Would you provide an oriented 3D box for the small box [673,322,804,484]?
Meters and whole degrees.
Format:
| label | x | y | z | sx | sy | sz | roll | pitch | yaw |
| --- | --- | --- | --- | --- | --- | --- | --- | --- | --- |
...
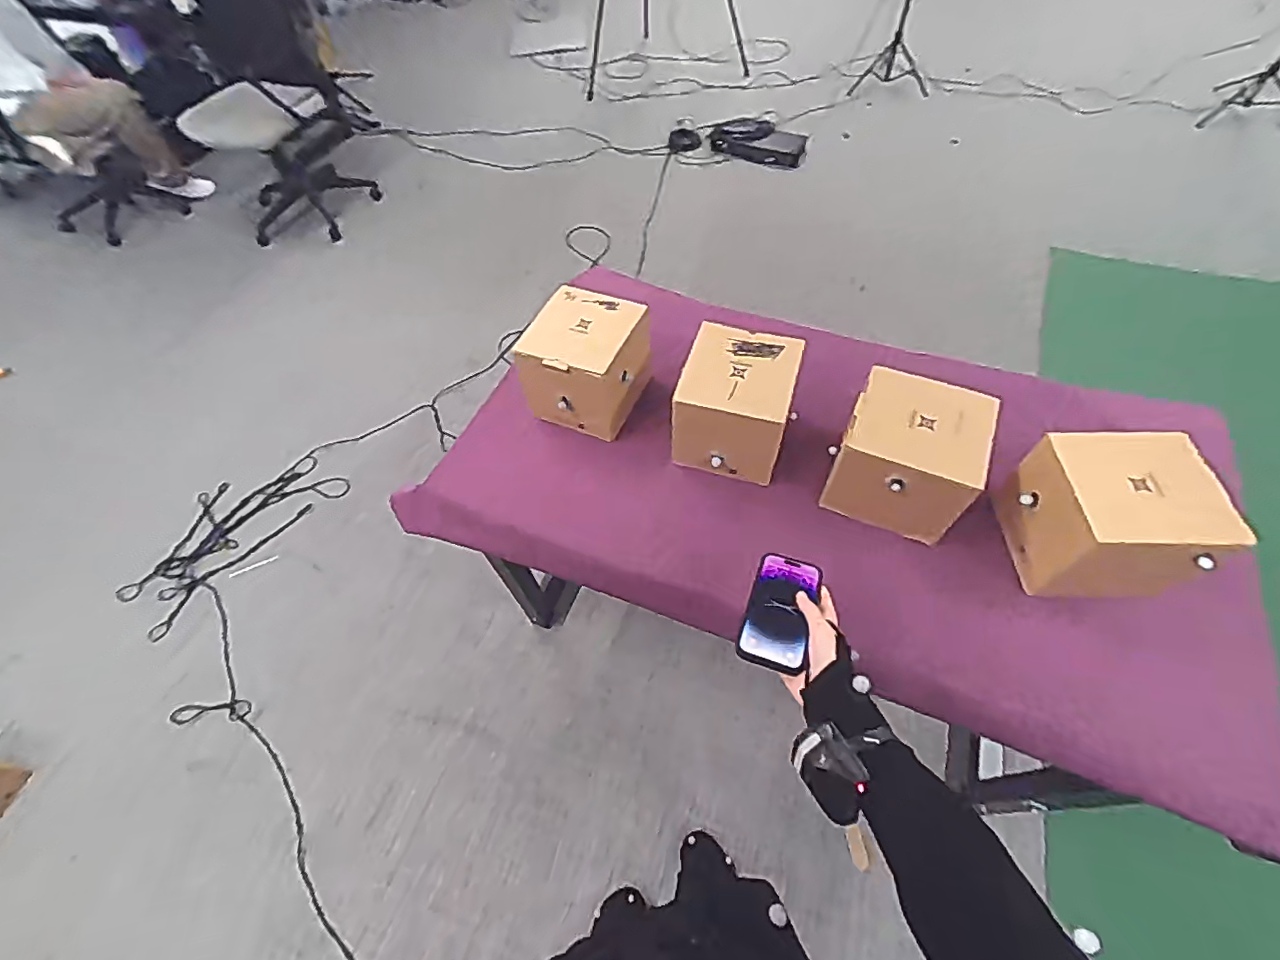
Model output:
| label | x | y | z | sx | sy | sz | roll | pitch | yaw |
| --- | --- | --- | --- | --- | --- | --- | --- | --- | --- |
| small box | 0.154 | -0.122 | 0.876 | 0.168 | 0.176 | 0.179 | 14 | 60 | 14 |

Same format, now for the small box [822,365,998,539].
| label | x | y | z | sx | sy | sz | roll | pitch | yaw |
| --- | --- | --- | --- | --- | --- | --- | --- | --- | --- |
| small box | 0.389 | -0.037 | 0.804 | 0.179 | 0.176 | 0.168 | 21 | 61 | 17 |

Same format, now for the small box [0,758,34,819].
| label | x | y | z | sx | sy | sz | roll | pitch | yaw |
| --- | --- | --- | --- | --- | --- | --- | --- | --- | --- |
| small box | -1.654 | 0.761 | 1.298 | 0.179 | 0.176 | 0.168 | 10 | 58 | 11 |

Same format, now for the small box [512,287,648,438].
| label | x | y | z | sx | sy | sz | roll | pitch | yaw |
| --- | --- | --- | --- | --- | --- | --- | --- | --- | --- |
| small box | -0.092 | -0.201 | 0.948 | 0.168 | 0.176 | 0.179 | 19 | 61 | 16 |

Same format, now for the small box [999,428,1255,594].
| label | x | y | z | sx | sy | sz | roll | pitch | yaw |
| --- | --- | --- | --- | --- | --- | --- | --- | --- | --- |
| small box | 0.622 | 0.046 | 0.729 | 0.179 | 0.176 | 0.168 | 0 | 56 | 4 |
